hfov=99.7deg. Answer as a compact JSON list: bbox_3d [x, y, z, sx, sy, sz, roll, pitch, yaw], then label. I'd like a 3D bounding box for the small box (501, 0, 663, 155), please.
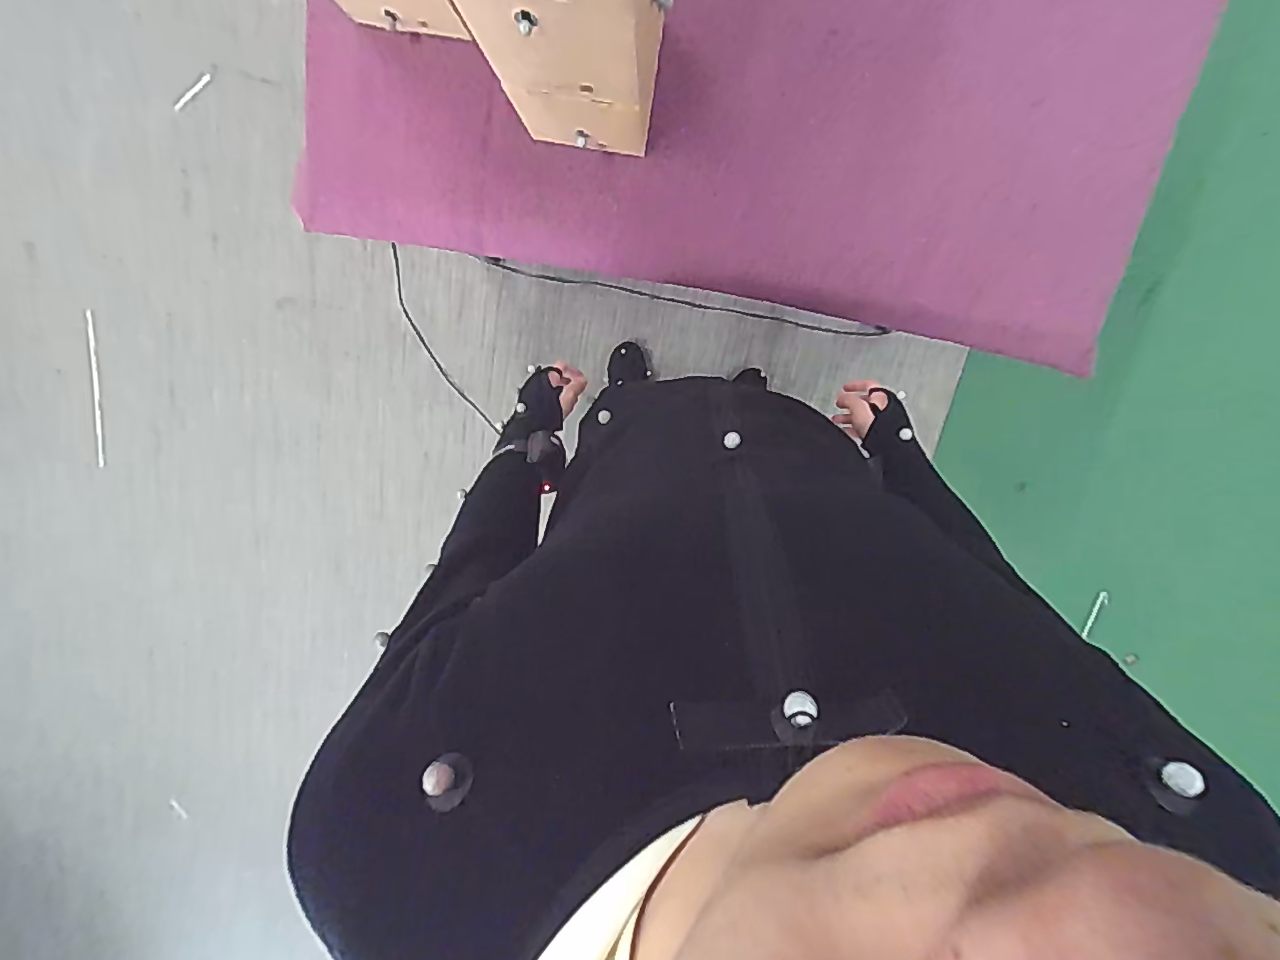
[{"bbox_3d":[-0.063,-0.544,0.680,0.168,0.176,0.179,10,105,0],"label":"small box"}]

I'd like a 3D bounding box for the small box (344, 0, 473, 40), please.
[{"bbox_3d":[-0.304,-0.687,0.654,0.168,0.176,0.179,8,105,1],"label":"small box"}]

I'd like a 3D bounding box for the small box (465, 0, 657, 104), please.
[{"bbox_3d":[-0.069,-0.507,0.520,0.168,0.176,0.179,9,103,0],"label":"small box"}]
